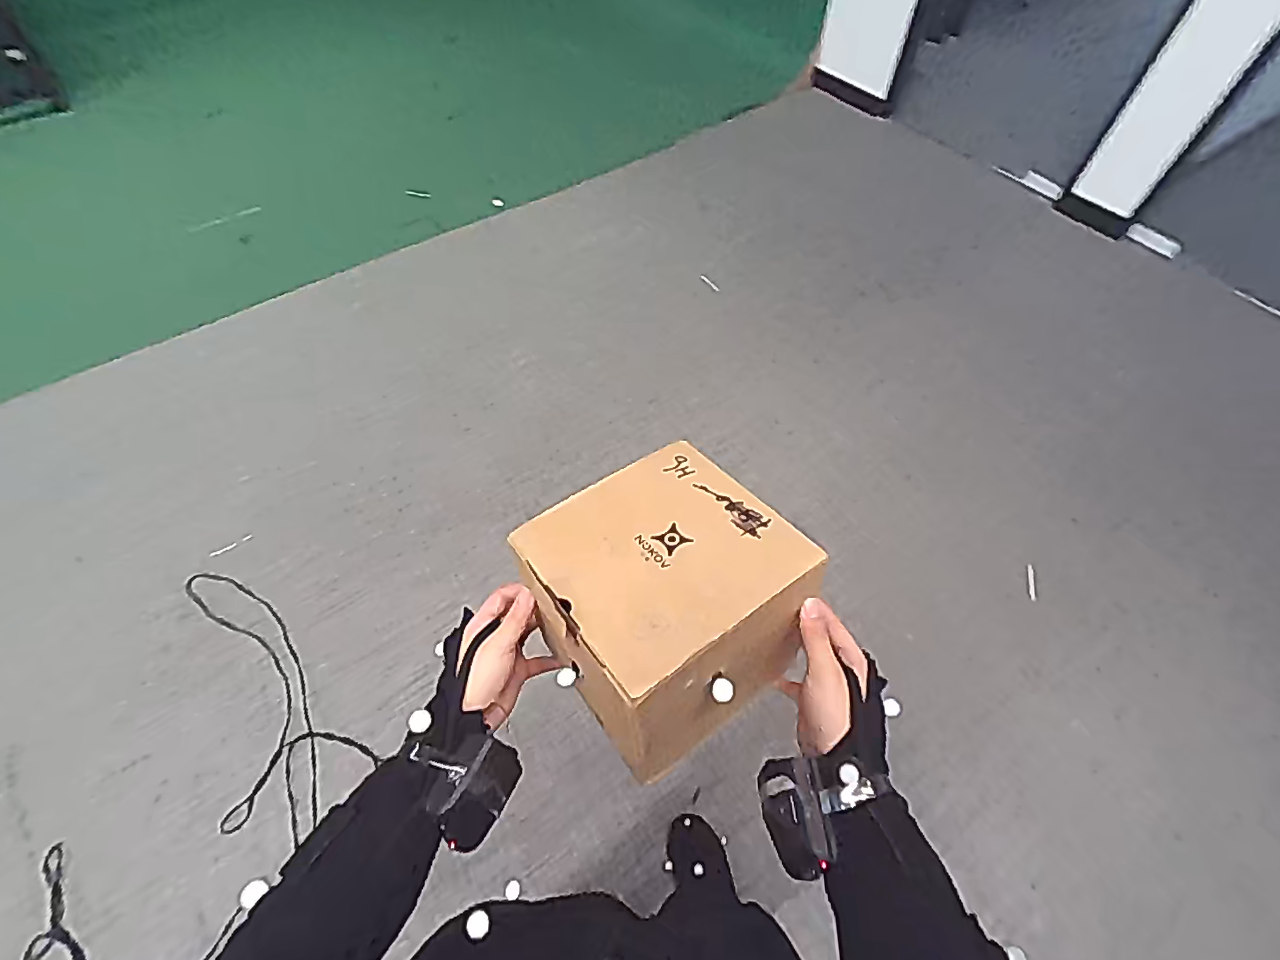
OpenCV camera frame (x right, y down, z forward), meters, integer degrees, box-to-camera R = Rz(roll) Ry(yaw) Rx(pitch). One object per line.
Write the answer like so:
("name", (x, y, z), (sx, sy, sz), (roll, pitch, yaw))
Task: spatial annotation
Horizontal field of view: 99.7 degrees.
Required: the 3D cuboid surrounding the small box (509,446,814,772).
("small box", (0.018, 0.108, 0.462), (0.179, 0.176, 0.168), (-30, 51, -23))
